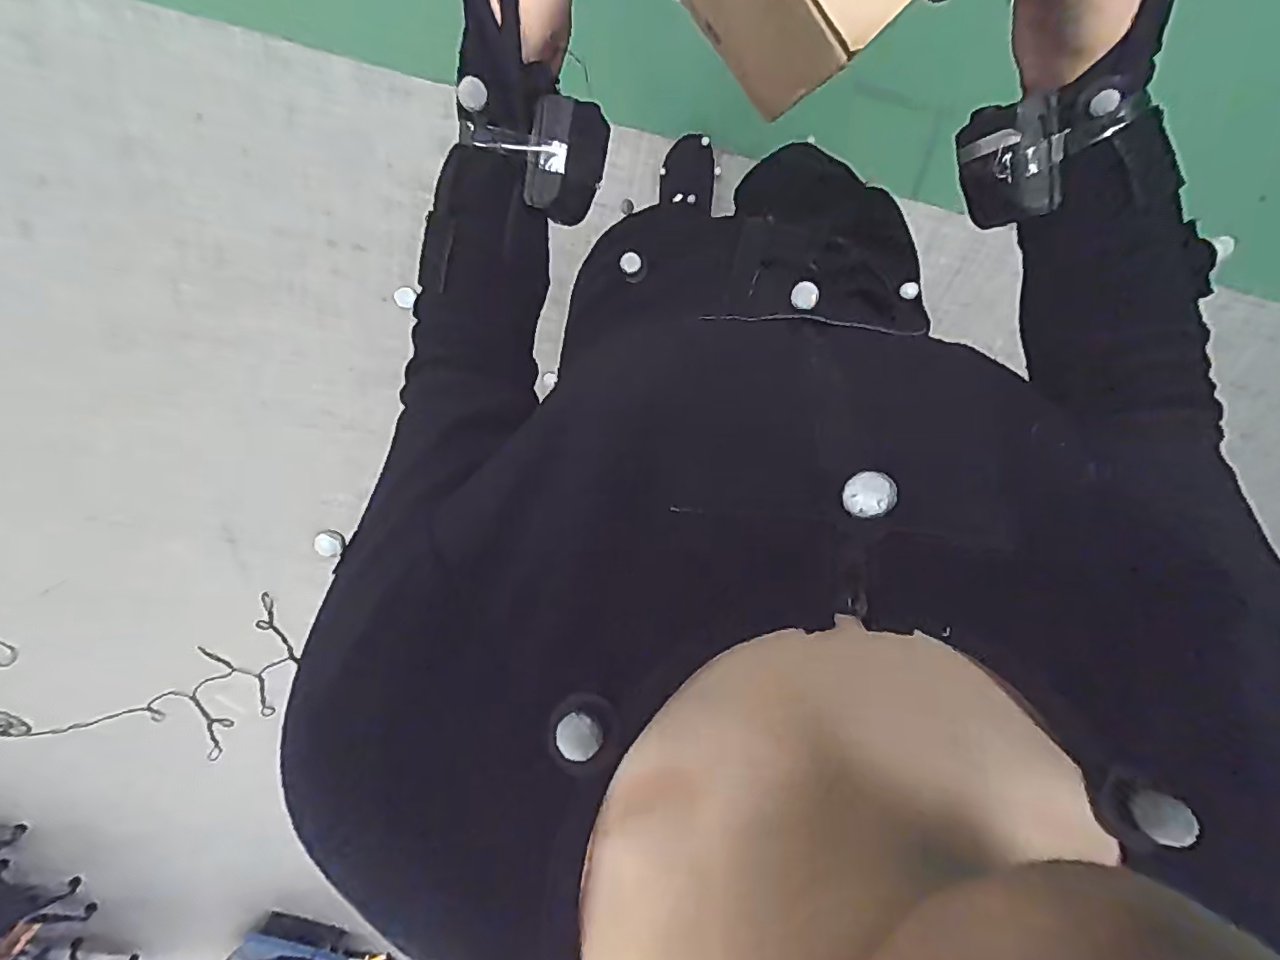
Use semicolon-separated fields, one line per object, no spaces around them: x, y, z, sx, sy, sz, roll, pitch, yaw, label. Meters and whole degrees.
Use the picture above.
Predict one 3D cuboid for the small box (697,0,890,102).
0.088;-0.310;0.236;0.179;0.176;0.168;-40;108;20;small box
